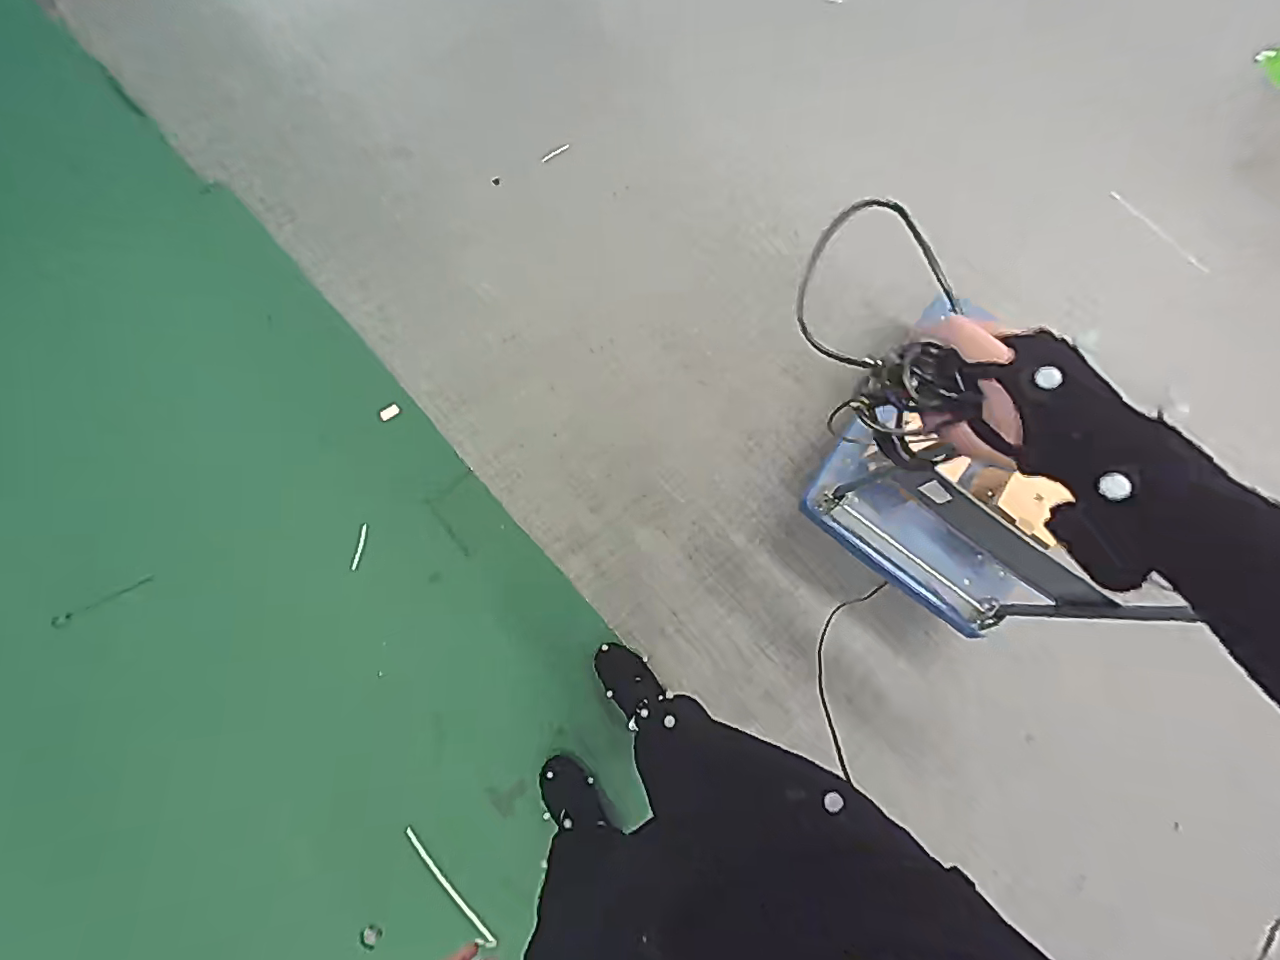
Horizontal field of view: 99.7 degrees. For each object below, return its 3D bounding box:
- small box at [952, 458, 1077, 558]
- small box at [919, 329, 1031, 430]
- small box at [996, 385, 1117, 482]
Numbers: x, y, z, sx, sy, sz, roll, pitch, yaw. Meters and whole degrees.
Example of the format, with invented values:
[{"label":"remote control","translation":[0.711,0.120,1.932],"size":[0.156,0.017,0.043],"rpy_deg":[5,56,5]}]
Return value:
[{"label":"small box","translation":[0.940,0.077,1.373],"size":[0.168,0.176,0.179],"rpy_deg":[38,74,4]},{"label":"small box","translation":[0.894,-0.264,1.461],"size":[0.168,0.176,0.179],"rpy_deg":[34,73,2]},{"label":"small box","translation":[1.104,-0.115,1.445],"size":[0.168,0.176,0.179],"rpy_deg":[35,74,4]}]
